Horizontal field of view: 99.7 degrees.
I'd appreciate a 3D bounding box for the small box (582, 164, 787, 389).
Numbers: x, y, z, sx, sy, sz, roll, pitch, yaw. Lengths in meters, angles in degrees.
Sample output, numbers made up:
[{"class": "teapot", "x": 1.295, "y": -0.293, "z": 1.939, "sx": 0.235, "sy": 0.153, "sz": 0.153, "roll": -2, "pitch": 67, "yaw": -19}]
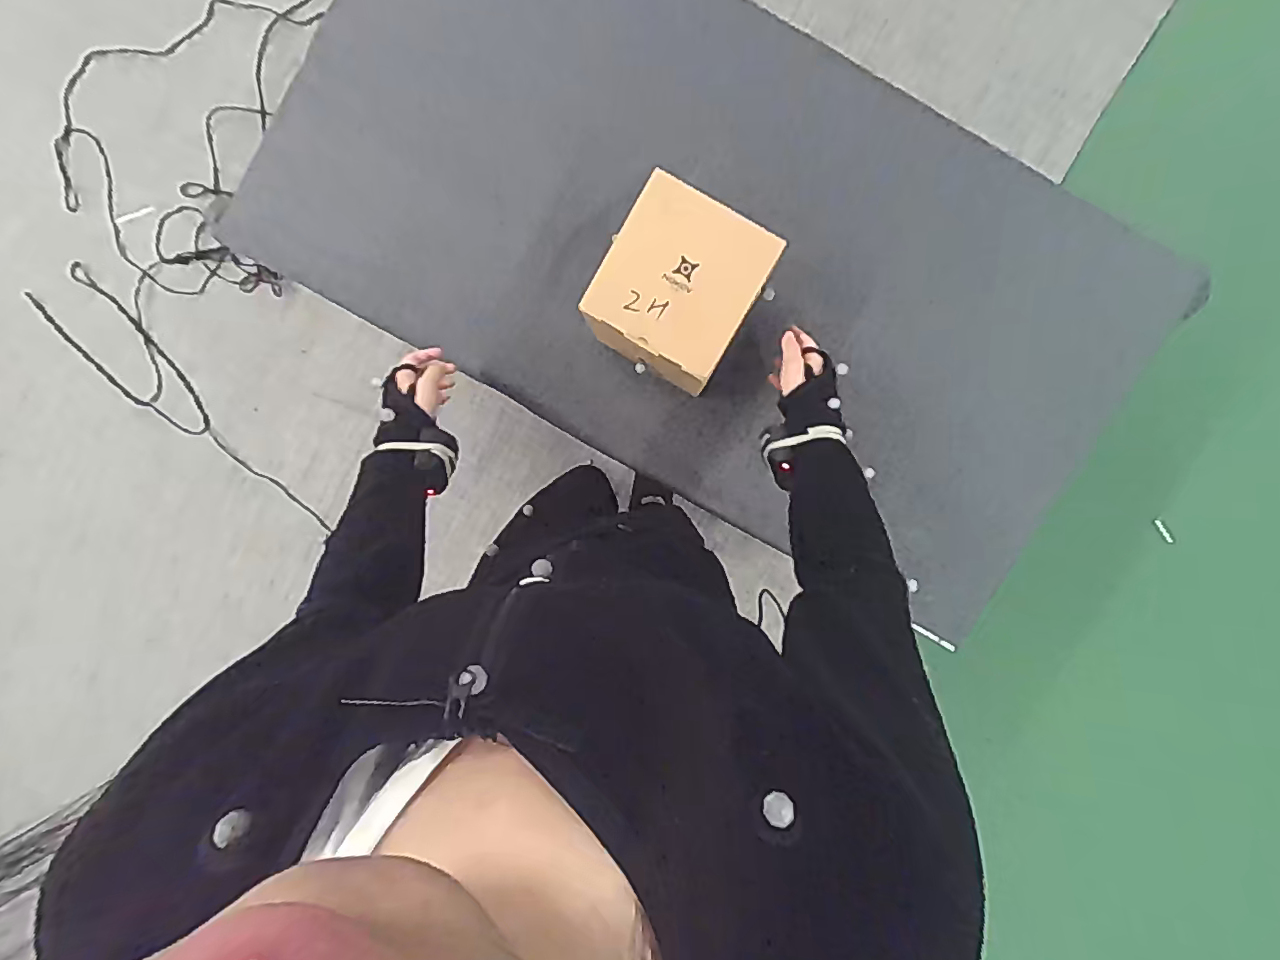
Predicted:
[{"class": "small box", "x": 0.049, "y": -0.231, "z": 0.665, "sx": 0.168, "sy": 0.176, "sz": 0.179, "roll": 31, "pitch": 94, "yaw": 1}]
